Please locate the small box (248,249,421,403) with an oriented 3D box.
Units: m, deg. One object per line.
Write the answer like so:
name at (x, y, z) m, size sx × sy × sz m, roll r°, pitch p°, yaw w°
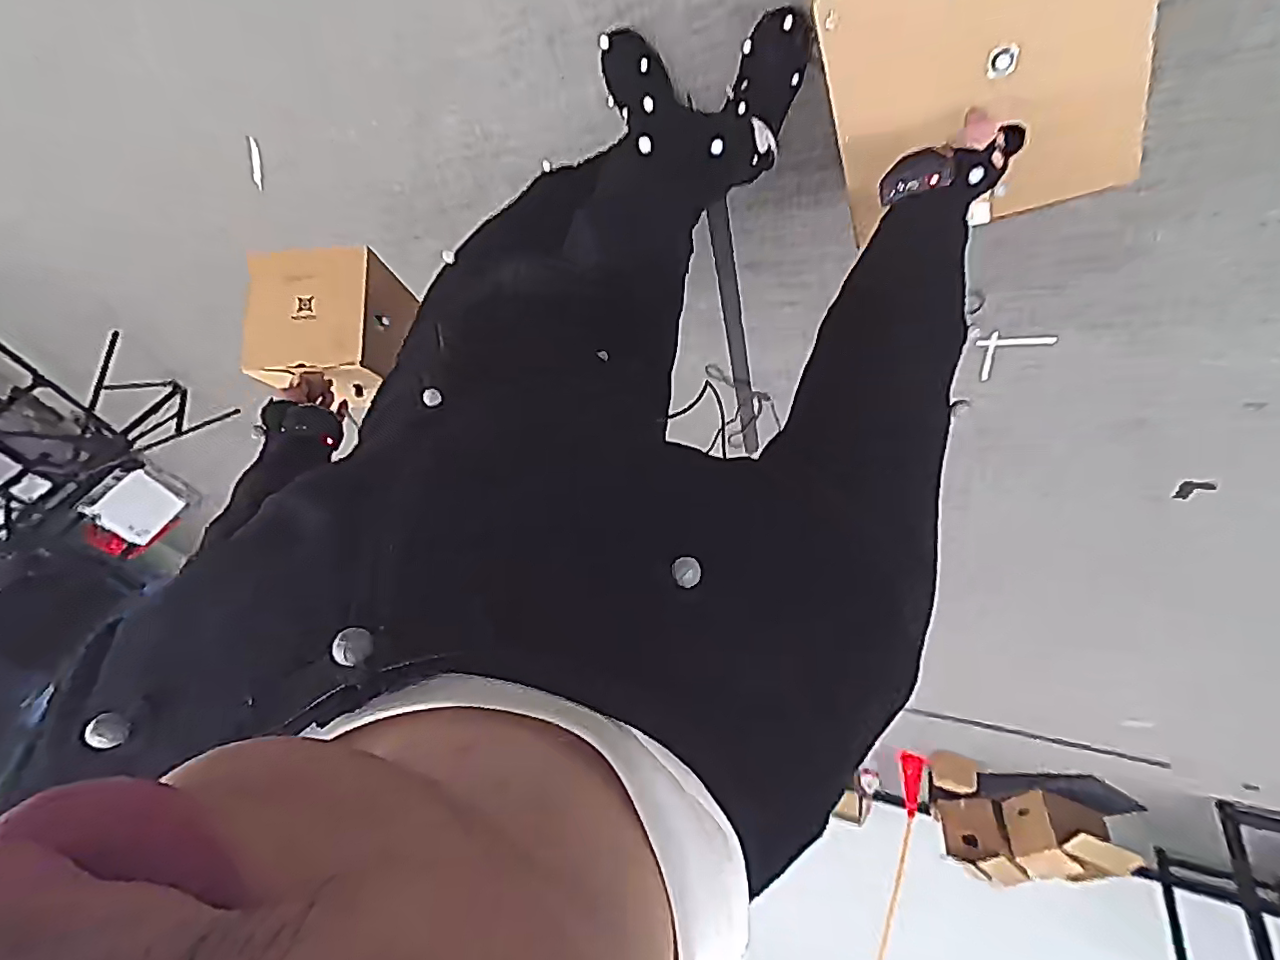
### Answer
small box at (-0.446, -0.219, 0.815) m, size 0.168 × 0.179 × 0.176 m, roll -2°, pitch 171°, yaw 1°
